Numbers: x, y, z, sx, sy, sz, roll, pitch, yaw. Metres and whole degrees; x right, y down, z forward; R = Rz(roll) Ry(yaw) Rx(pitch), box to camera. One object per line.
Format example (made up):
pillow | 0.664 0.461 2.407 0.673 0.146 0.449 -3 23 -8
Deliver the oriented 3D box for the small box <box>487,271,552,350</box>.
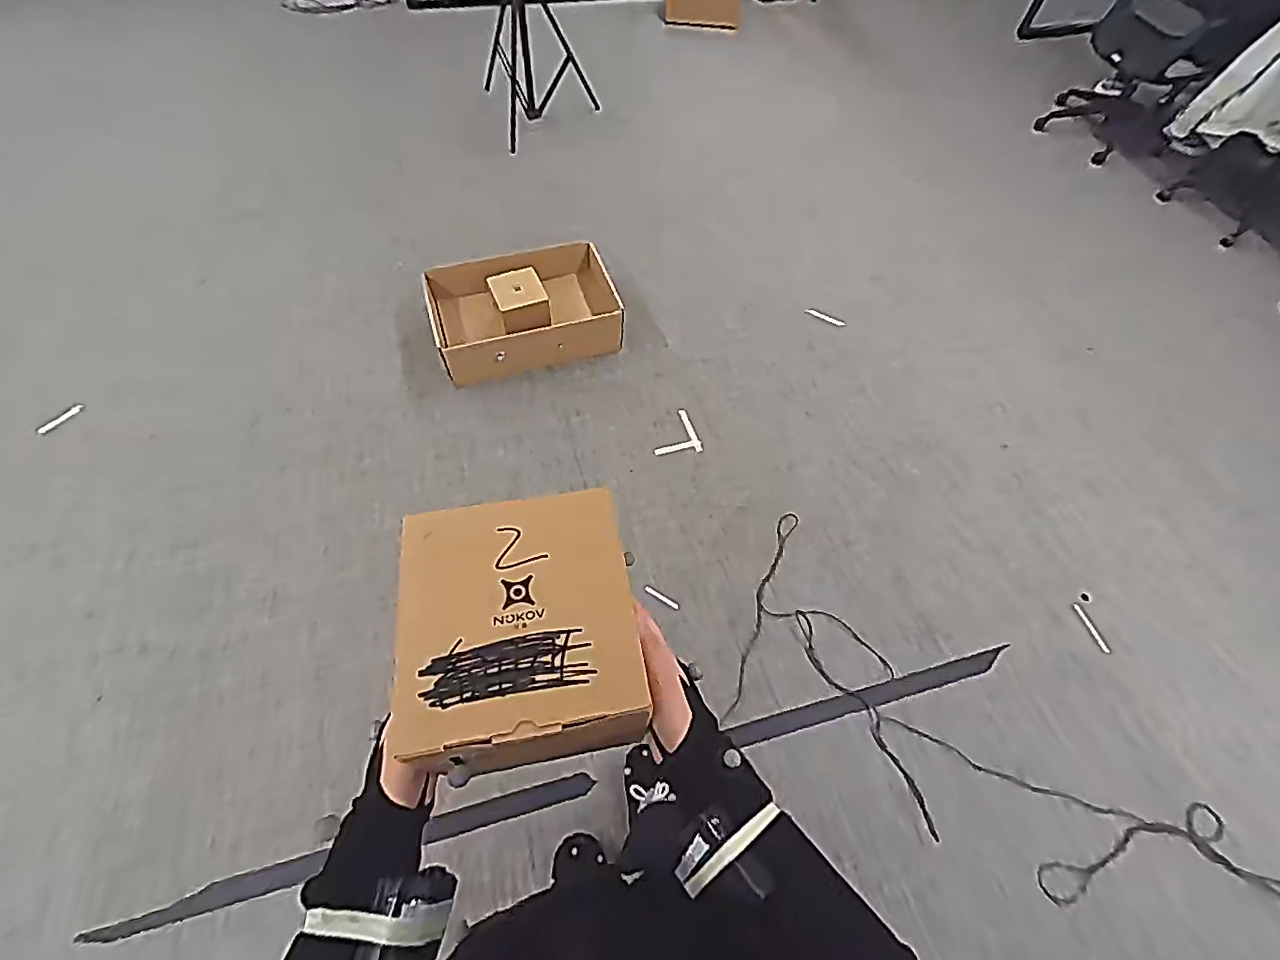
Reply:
small box | -0.415 -0.585 1.874 0.168 0.176 0.179 -21 64 -14
